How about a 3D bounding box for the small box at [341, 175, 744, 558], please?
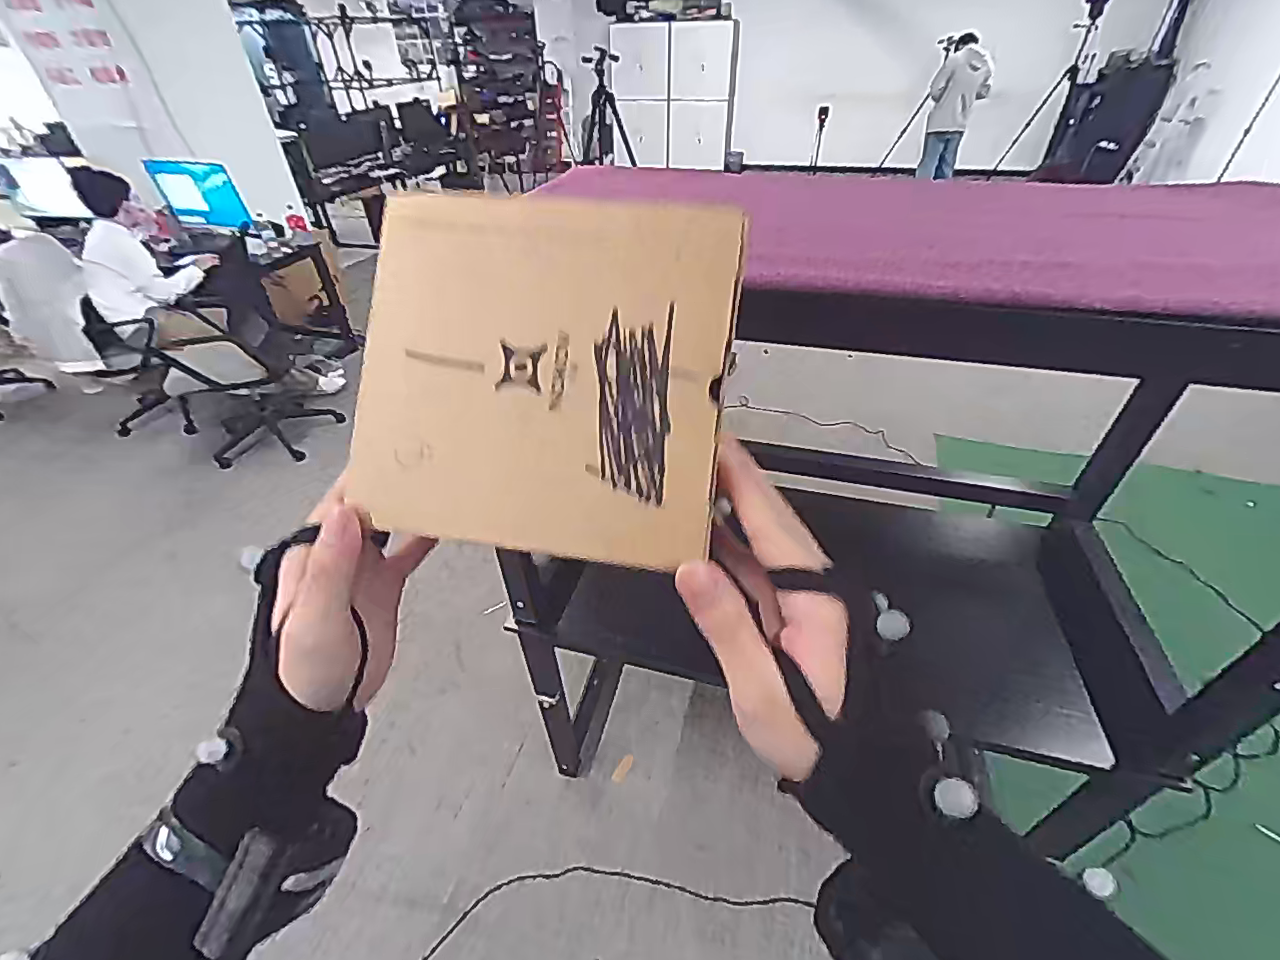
[{"bbox_3d":[-0.039,-0.053,0.329,0.179,0.168,0.176,7,-2,7],"label":"small box"}]
